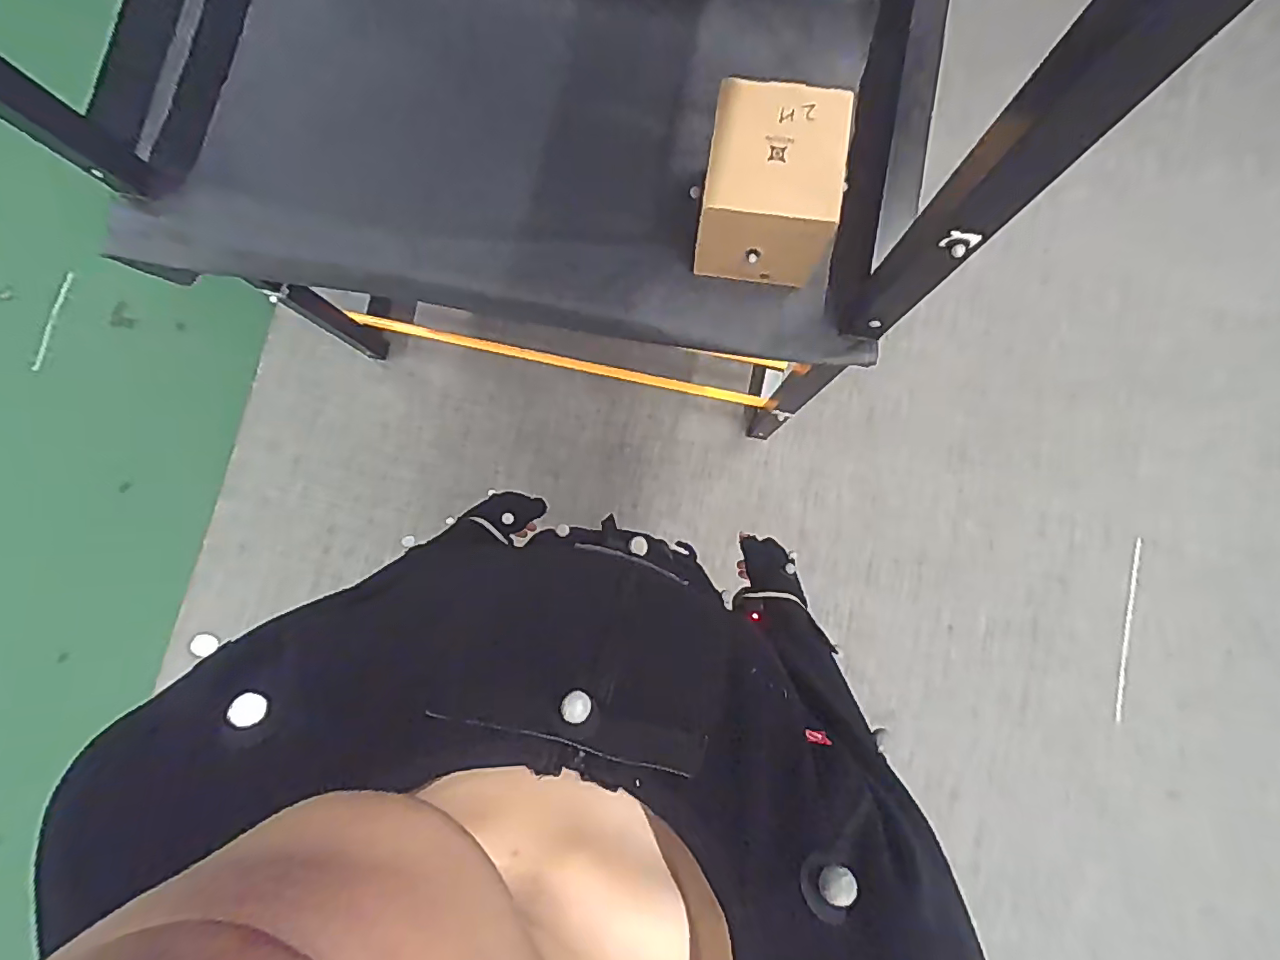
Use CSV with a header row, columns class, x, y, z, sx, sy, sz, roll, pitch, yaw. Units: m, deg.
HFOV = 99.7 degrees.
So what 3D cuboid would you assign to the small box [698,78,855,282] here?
class,x,y,z,sx,sy,sz,roll,pitch,yaw
small box,0.173,-0.393,0.736,0.168,0.176,0.179,8,84,2
